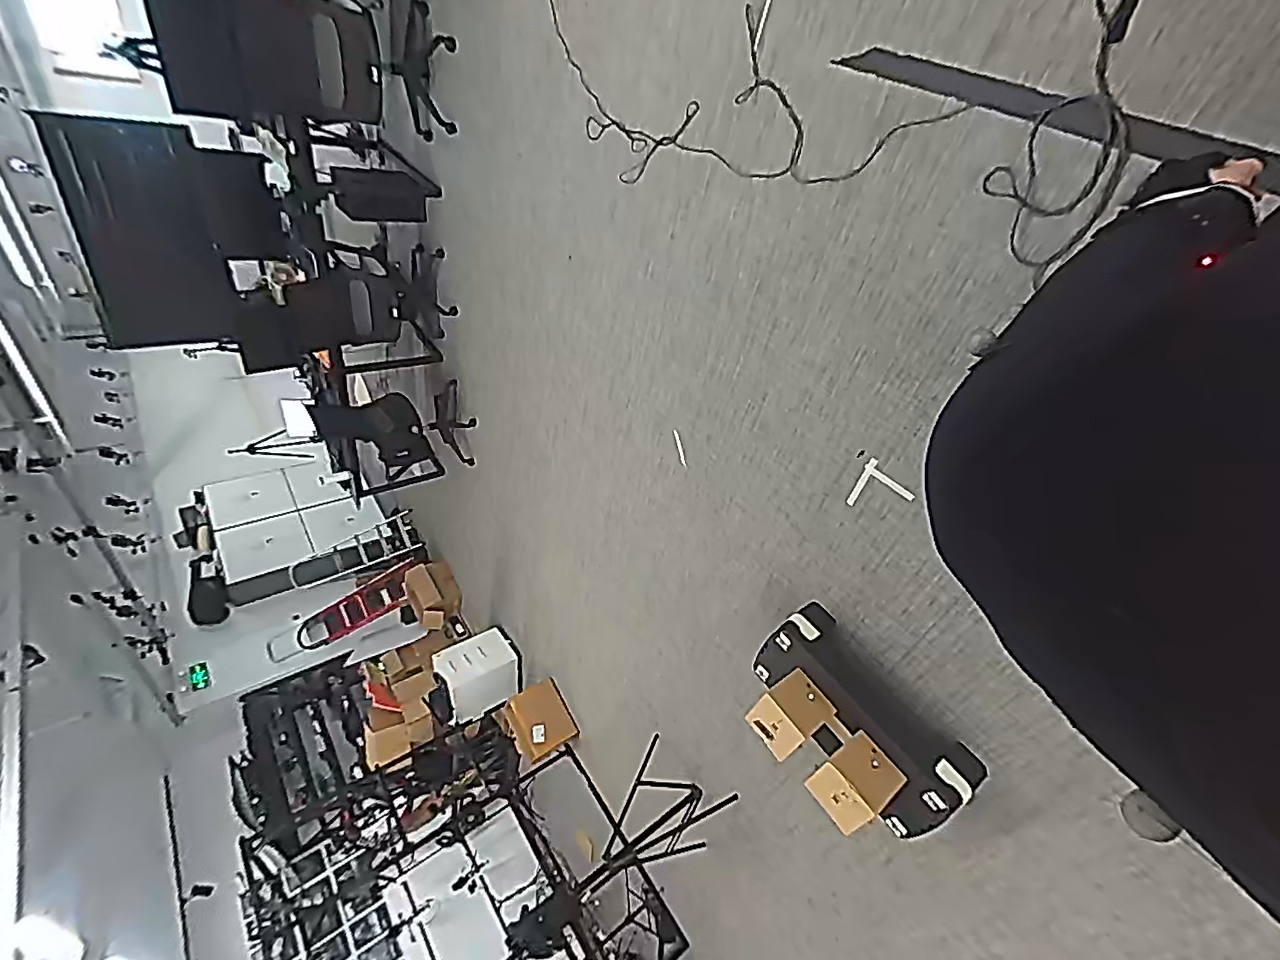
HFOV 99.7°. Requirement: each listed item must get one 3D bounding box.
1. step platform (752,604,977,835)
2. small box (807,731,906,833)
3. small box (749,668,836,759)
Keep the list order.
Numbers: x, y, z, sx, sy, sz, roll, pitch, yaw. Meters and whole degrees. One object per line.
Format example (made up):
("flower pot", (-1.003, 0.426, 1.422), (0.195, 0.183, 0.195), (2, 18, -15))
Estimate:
("step platform", (0.674, 0.746, 1.730), (0.684, 0.204, 0.286), (46, 138, 31))
("small box", (0.622, 0.861, 1.549), (0.168, 0.176, 0.179), (46, 138, 30))
("small box", (0.477, 0.724, 1.685), (0.168, 0.176, 0.179), (48, 138, 29))
